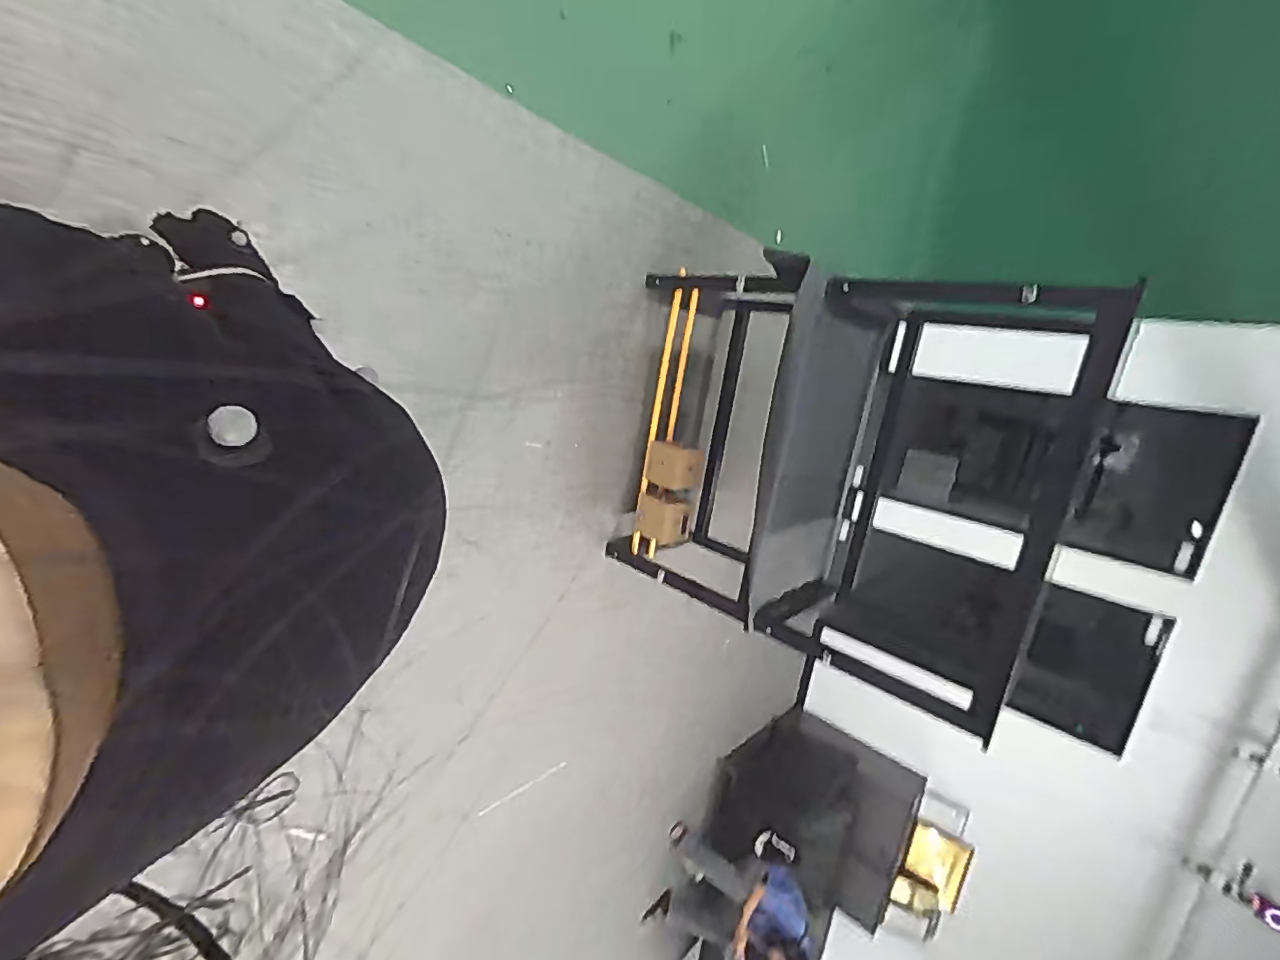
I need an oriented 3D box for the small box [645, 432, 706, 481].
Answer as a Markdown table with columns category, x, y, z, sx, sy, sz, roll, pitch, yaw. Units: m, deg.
| category | x | y | z | sx | sy | sz | roll | pitch | yaw |
| --- | --- | --- | --- | --- | --- | --- | --- | --- | --- |
| small box | 0.144 | -0.100 | 2.237 | 0.179 | 0.176 | 0.168 | -5 | 110 | -48 |
